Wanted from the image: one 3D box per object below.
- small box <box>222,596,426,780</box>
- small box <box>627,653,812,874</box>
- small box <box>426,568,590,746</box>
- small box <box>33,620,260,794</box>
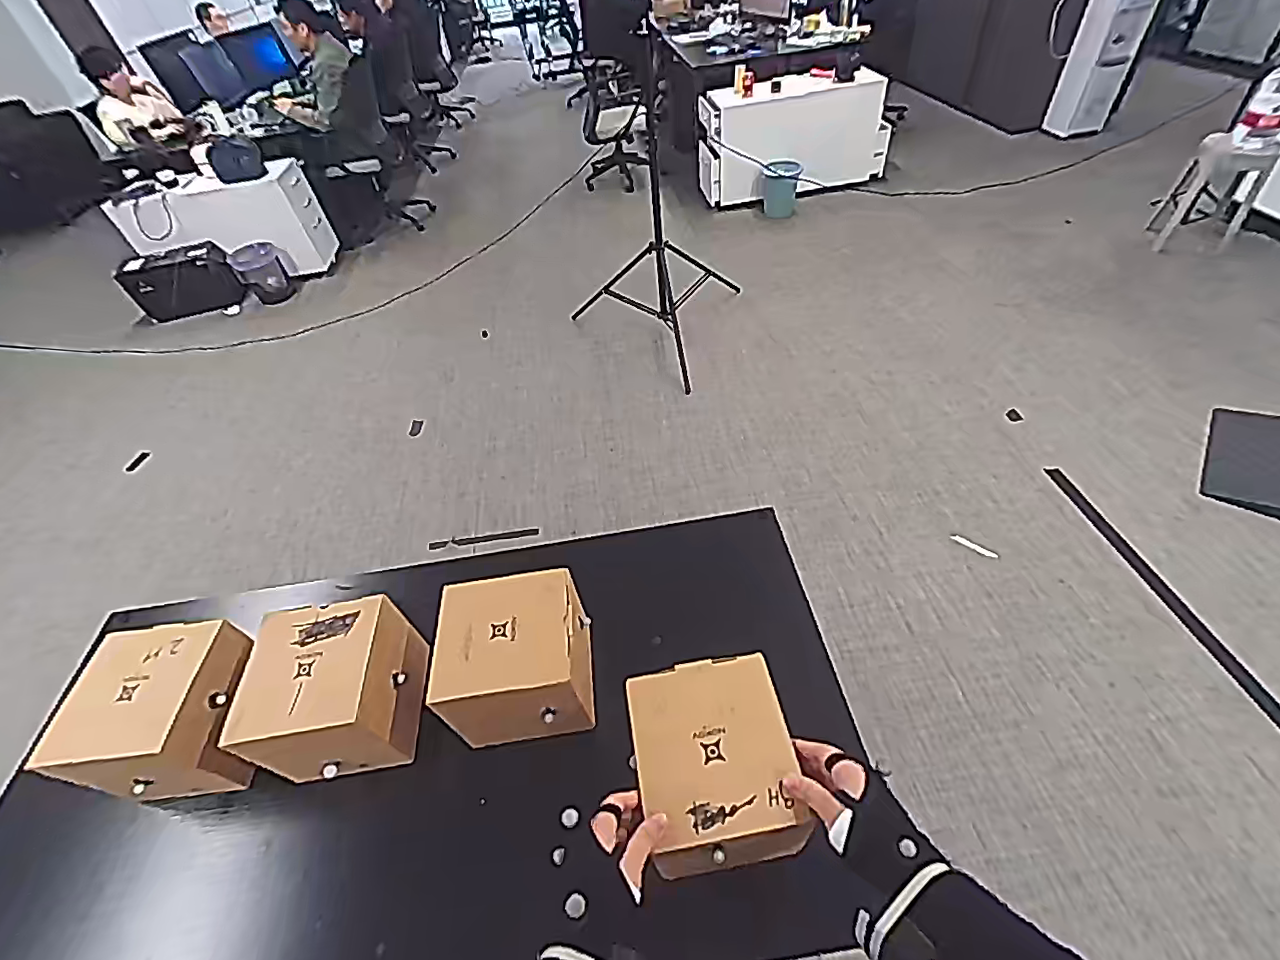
[{"bbox_3d":[-0.413,0.288,0.747,0.168,0.176,0.179,-10,48,-2],"label":"small box"},{"bbox_3d":[0.084,0.332,0.633,0.168,0.176,0.179,-11,47,-1],"label":"small box"},{"bbox_3d":[-0.168,0.248,0.751,0.179,0.176,0.168,-10,45,1],"label":"small box"},{"bbox_3d":[-0.635,0.320,0.750,0.168,0.176,0.179,-7,47,1],"label":"small box"}]
